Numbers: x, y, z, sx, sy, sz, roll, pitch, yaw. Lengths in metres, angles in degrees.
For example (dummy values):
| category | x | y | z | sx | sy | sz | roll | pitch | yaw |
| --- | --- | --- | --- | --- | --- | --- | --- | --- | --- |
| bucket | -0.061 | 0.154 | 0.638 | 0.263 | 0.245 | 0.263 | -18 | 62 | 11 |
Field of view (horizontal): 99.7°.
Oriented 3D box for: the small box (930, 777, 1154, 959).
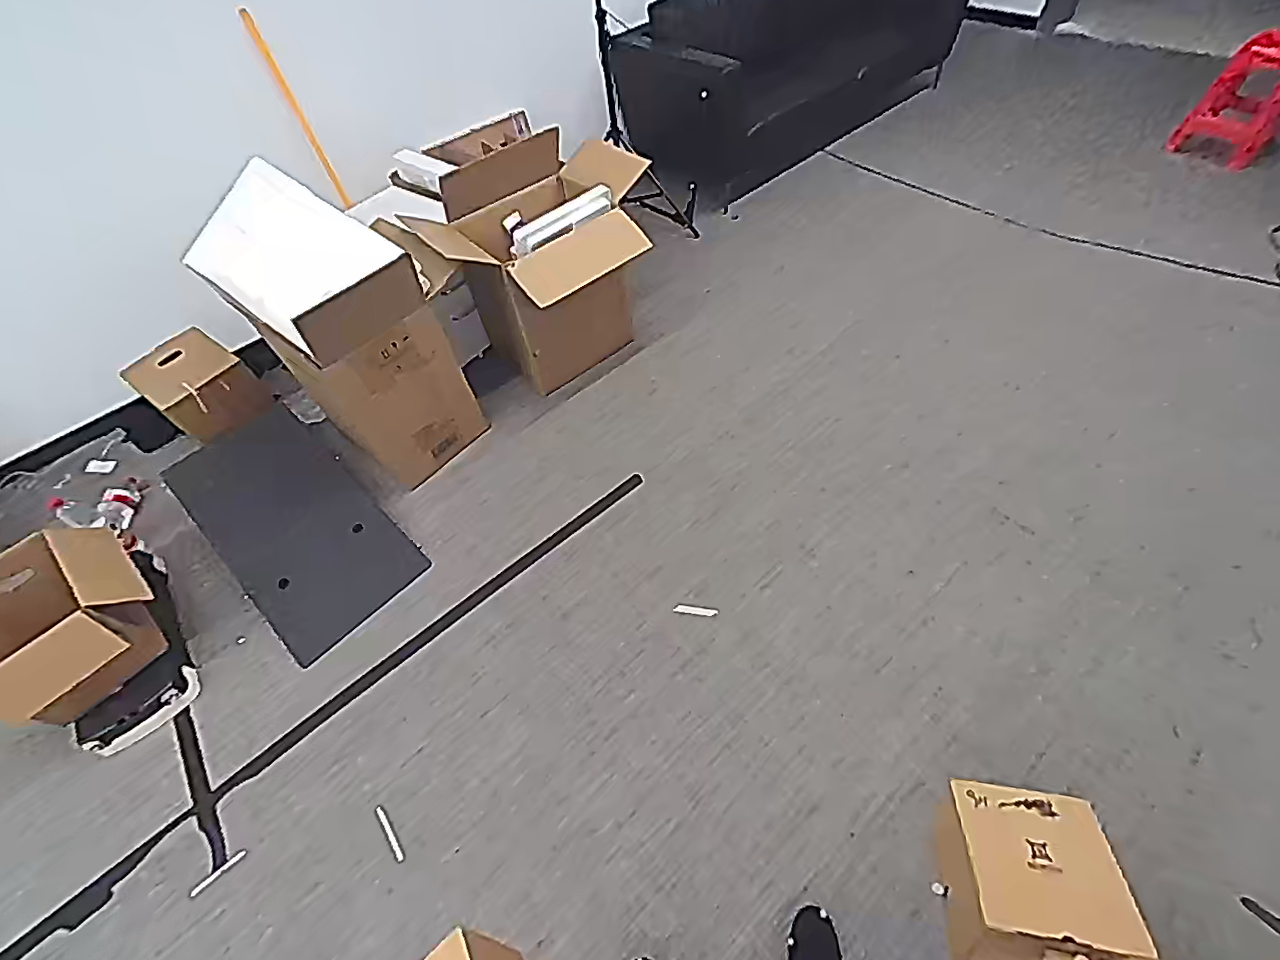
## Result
| category | x | y | z | sx | sy | sz | roll | pitch | yaw |
| --- | --- | --- | --- | --- | --- | --- | --- | --- | --- |
| small box | 0.487 | 0.524 | 0.690 | 0.168 | 0.176 | 0.179 | 3 | 31 | 15 |

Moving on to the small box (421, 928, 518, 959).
| category | x | y | z | sx | sy | sz | roll | pitch | yaw |
| --- | --- | --- | --- | --- | --- | --- | --- | --- | --- |
| small box | -0.208 | 0.679 | 0.622 | 0.168 | 0.176 | 0.179 | -38 | 39 | -18 |
